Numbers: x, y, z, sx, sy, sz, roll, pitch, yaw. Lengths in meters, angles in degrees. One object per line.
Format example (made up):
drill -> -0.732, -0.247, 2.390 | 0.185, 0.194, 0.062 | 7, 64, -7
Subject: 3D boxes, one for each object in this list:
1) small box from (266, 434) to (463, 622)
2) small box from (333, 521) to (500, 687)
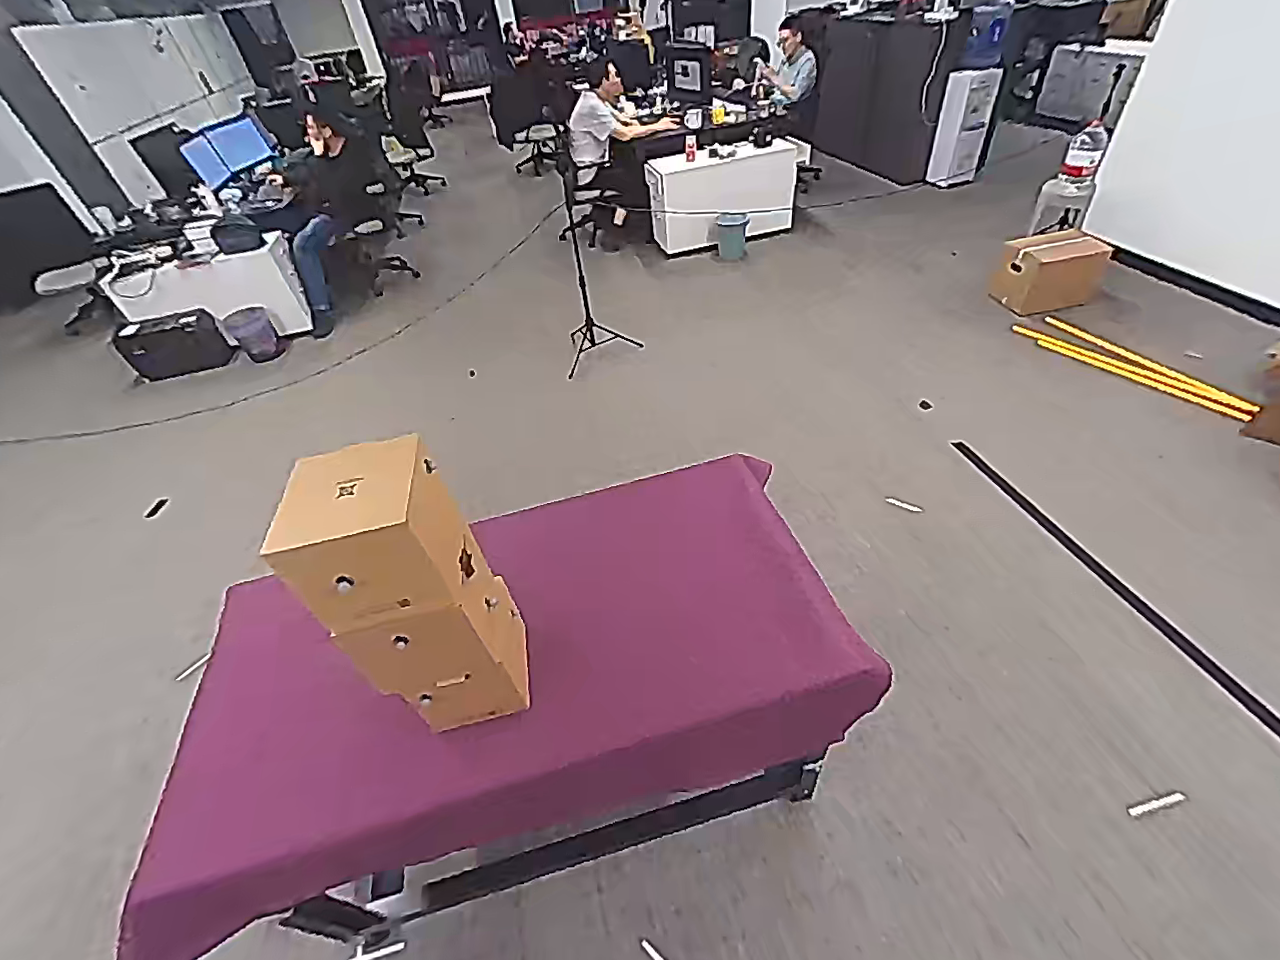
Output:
small box -> -0.346, 0.069, 0.723 | 0.168, 0.176, 0.179 | -13, 42, -4
small box -> -0.326, 0.192, 0.828 | 0.179, 0.176, 0.168 | -12, 43, -4
